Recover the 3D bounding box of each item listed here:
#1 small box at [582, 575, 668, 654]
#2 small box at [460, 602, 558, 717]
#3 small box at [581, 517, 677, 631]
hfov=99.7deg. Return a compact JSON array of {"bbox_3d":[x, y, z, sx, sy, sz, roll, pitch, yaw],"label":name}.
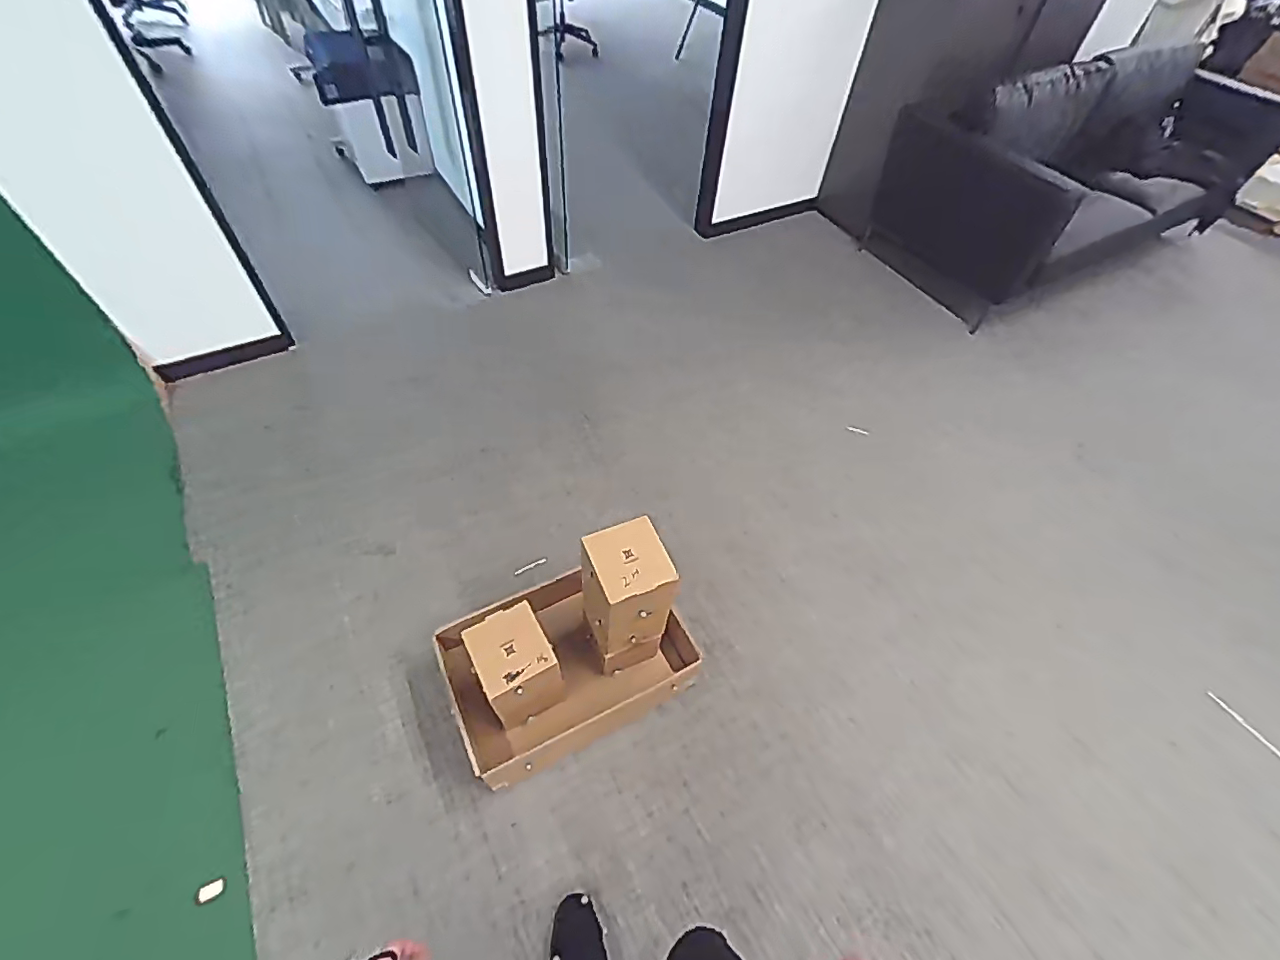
[{"bbox_3d":[-0.047,0.315,1.385,0.168,0.176,0.179,-18,58,-18],"label":"small box"},{"bbox_3d":[-0.305,0.426,1.278,0.168,0.176,0.179,-24,59,-20],"label":"small box"},{"bbox_3d":[-0.033,0.220,1.250,0.168,0.176,0.179,-18,58,-17],"label":"small box"}]
